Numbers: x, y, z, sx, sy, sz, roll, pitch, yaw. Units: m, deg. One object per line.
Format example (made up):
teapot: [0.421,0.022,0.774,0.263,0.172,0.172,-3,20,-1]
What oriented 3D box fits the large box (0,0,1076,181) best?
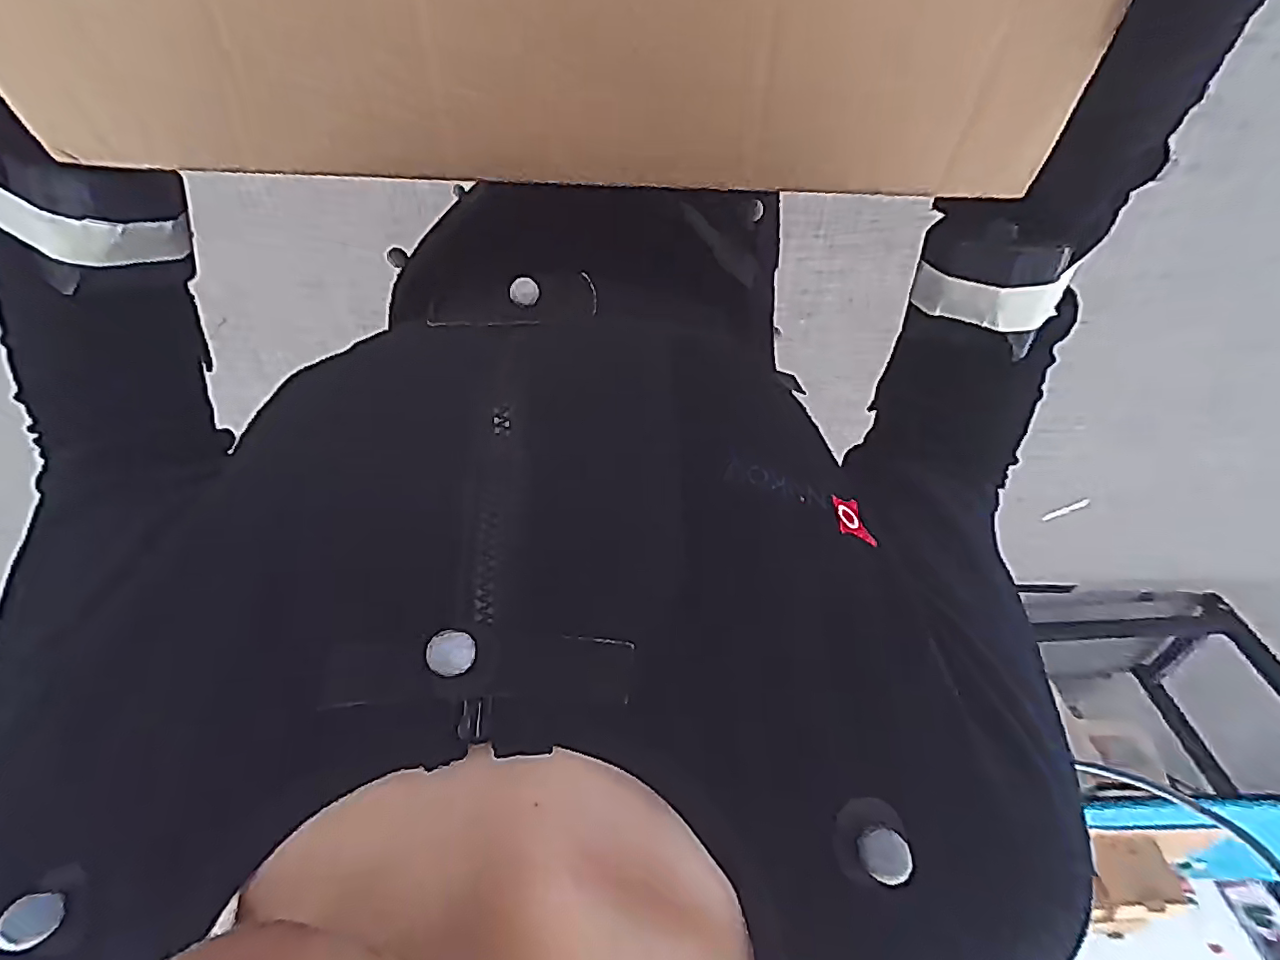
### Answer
large box: [-0.039,-0.346,0.211,0.408,0.320,0.320,2,140,0]
